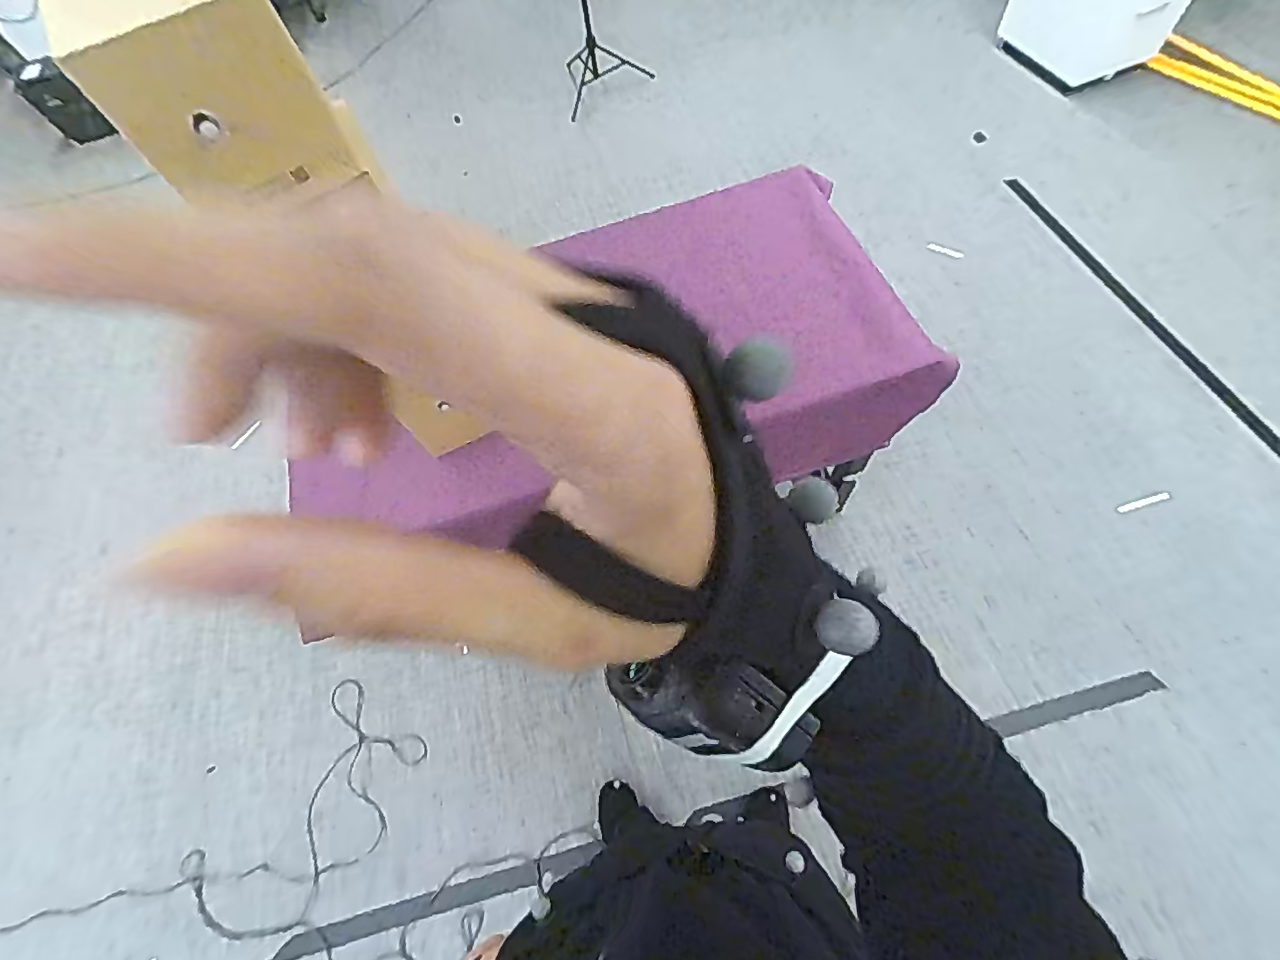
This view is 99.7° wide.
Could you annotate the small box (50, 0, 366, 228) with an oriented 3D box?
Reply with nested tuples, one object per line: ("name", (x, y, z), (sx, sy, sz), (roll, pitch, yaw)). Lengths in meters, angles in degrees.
("small box", (-0.409, -0.383, 0.535), (0.168, 0.176, 0.179), (-33, 64, -10))

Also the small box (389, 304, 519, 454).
("small box", (-0.344, -0.175, 0.977), (0.179, 0.176, 0.168), (-26, 64, -7))
